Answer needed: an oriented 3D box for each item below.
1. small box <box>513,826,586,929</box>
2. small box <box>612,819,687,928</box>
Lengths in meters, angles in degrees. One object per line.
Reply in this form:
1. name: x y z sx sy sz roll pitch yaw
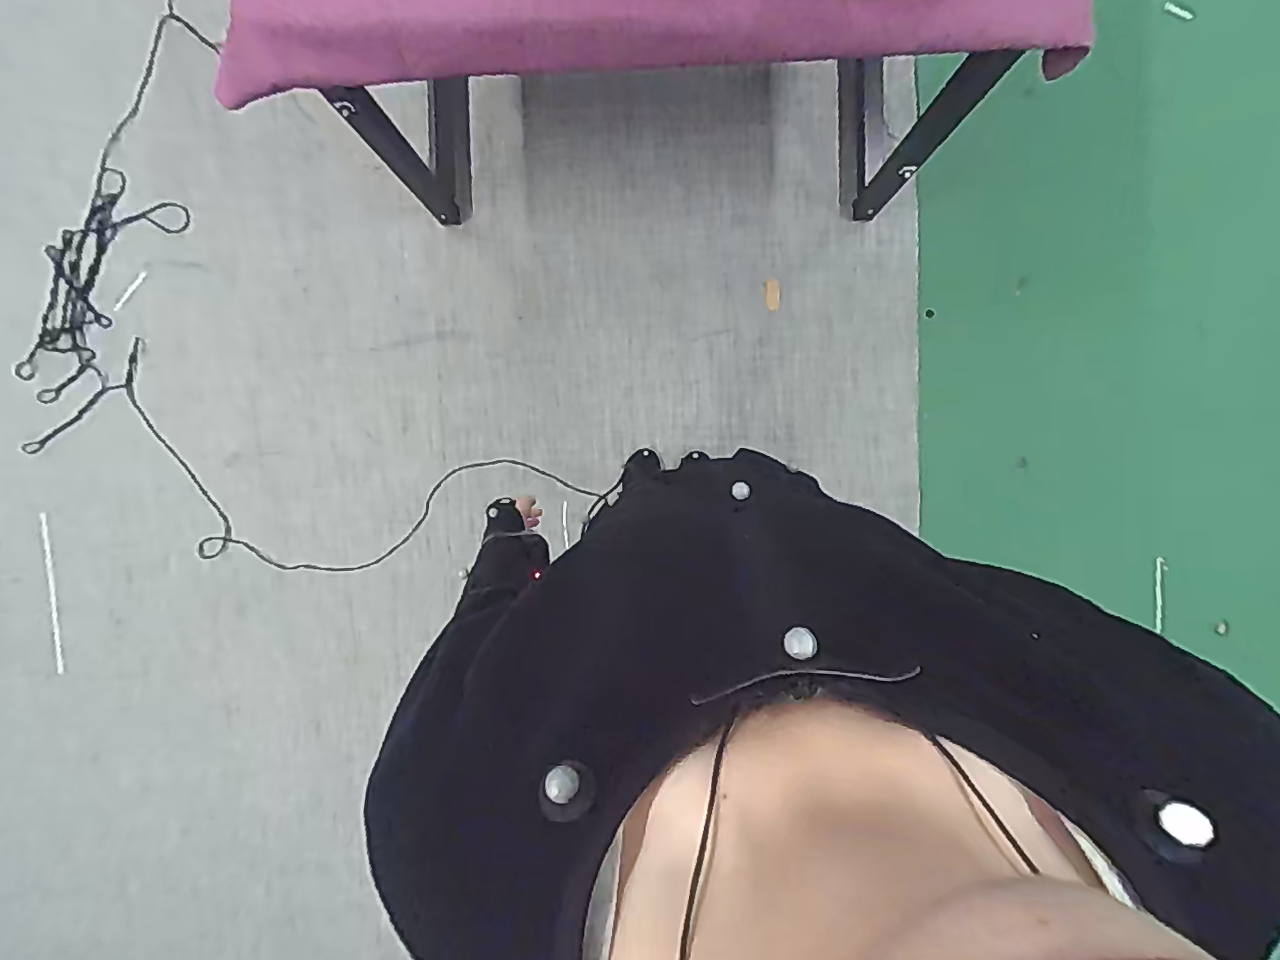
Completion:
1. small box: -0.243 1.058 1.441 0.179 0.176 0.168 -9 91 1
2. small box: 0.026 1.031 1.431 0.179 0.176 0.168 -7 90 4
